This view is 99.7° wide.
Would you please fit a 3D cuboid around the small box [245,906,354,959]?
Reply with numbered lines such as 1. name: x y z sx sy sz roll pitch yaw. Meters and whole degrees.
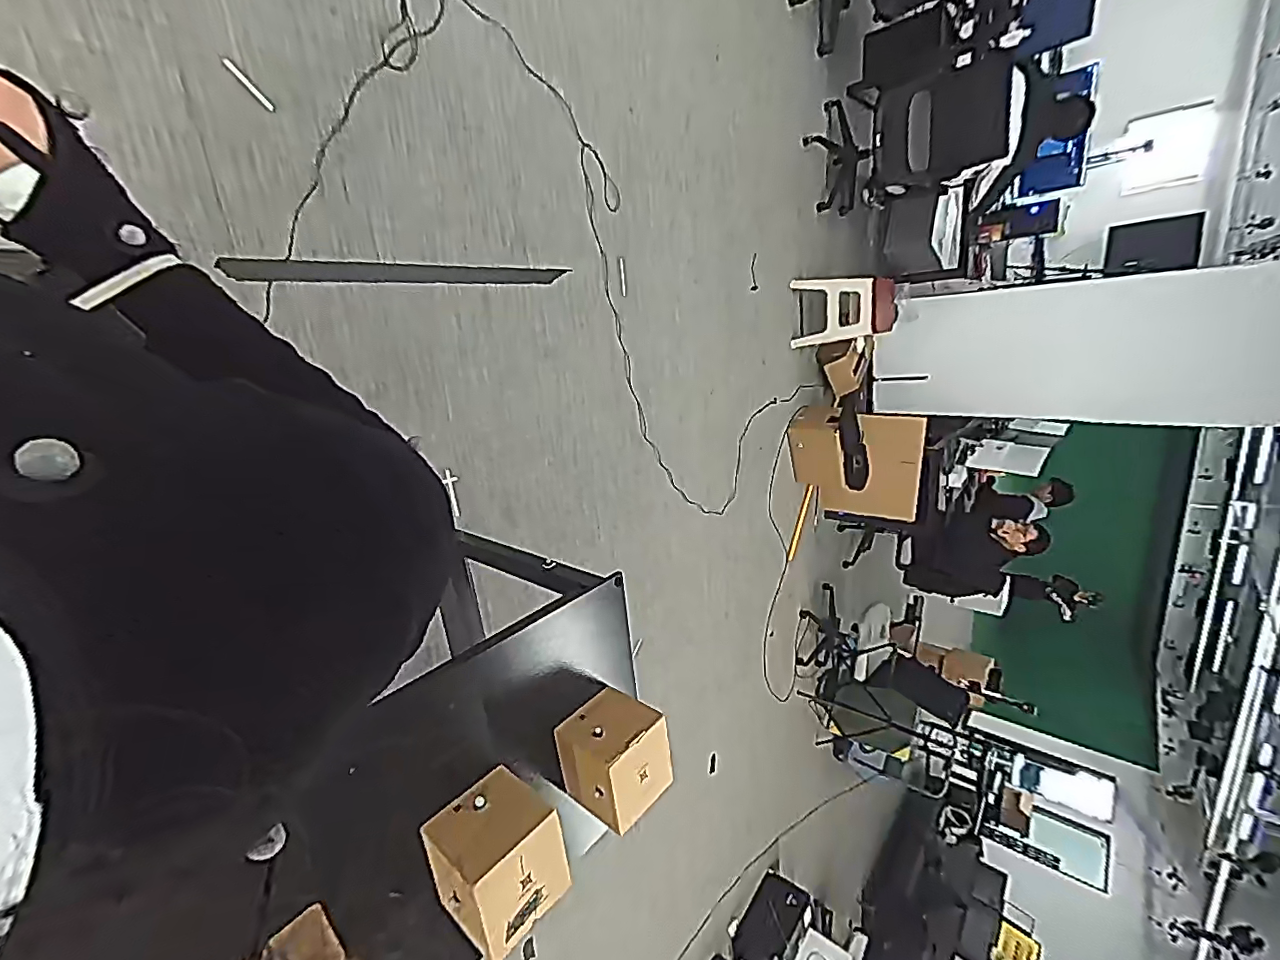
1. small box: -0.456 0.723 0.706 0.179 0.176 0.168 -29 117 -43

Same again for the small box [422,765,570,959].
1. small box: -0.247 0.640 0.931 0.168 0.176 0.179 -24 114 -44

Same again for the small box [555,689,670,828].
1. small box: -0.059 0.567 1.135 0.168 0.176 0.179 -25 115 -43
